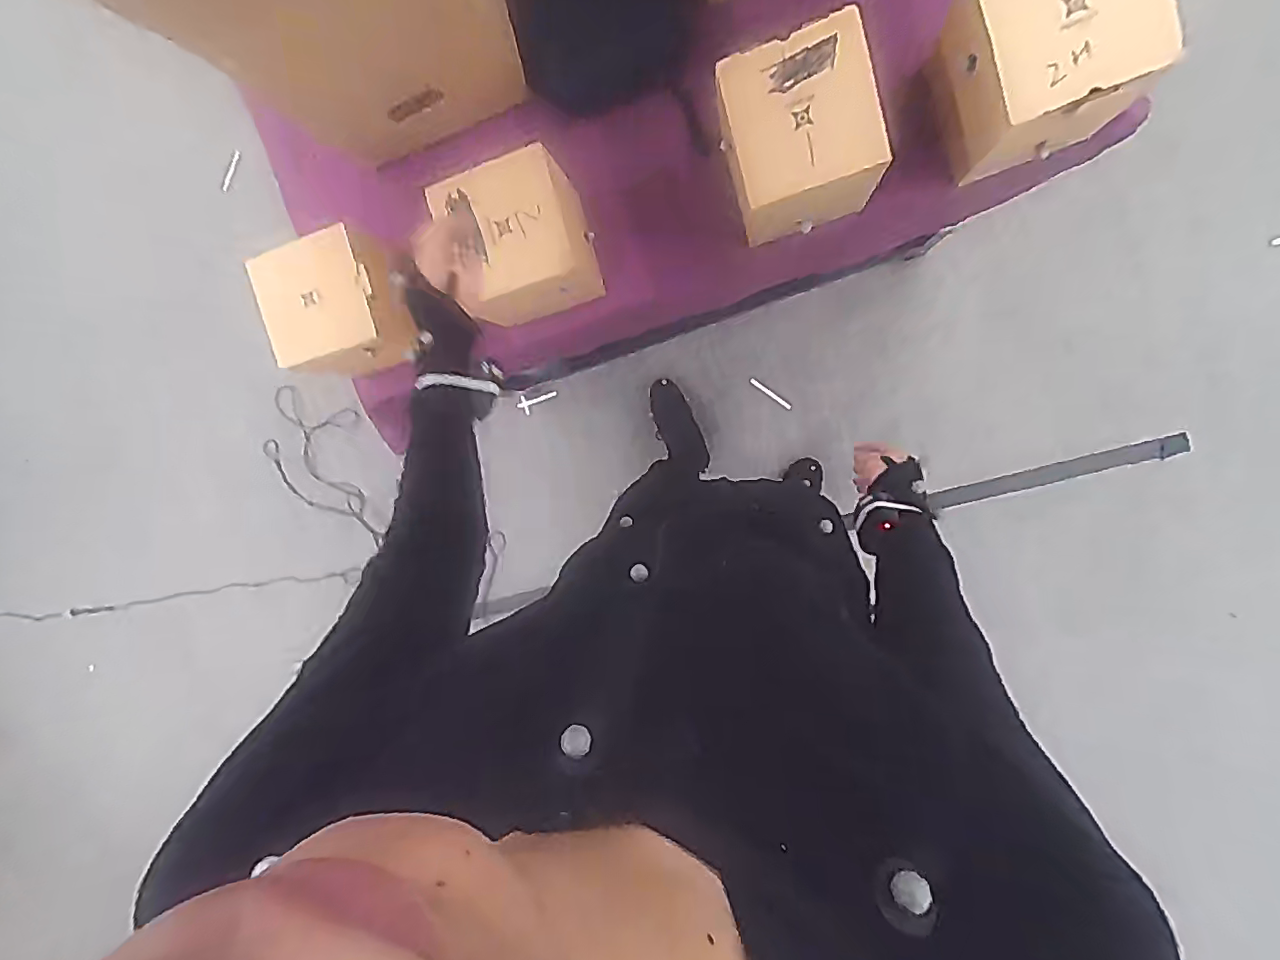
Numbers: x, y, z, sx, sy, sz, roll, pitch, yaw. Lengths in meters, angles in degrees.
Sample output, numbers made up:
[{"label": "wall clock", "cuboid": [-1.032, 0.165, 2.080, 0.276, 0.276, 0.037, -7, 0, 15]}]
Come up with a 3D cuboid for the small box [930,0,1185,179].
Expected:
[{"label": "small box", "cuboid": [0.468, -0.500, 0.638, 0.168, 0.176, 0.179, -16, 94, 14]}]

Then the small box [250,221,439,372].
[{"label": "small box", "cuboid": [-0.455, -0.275, 0.854, 0.179, 0.176, 0.168, -14, 95, 11]}]
